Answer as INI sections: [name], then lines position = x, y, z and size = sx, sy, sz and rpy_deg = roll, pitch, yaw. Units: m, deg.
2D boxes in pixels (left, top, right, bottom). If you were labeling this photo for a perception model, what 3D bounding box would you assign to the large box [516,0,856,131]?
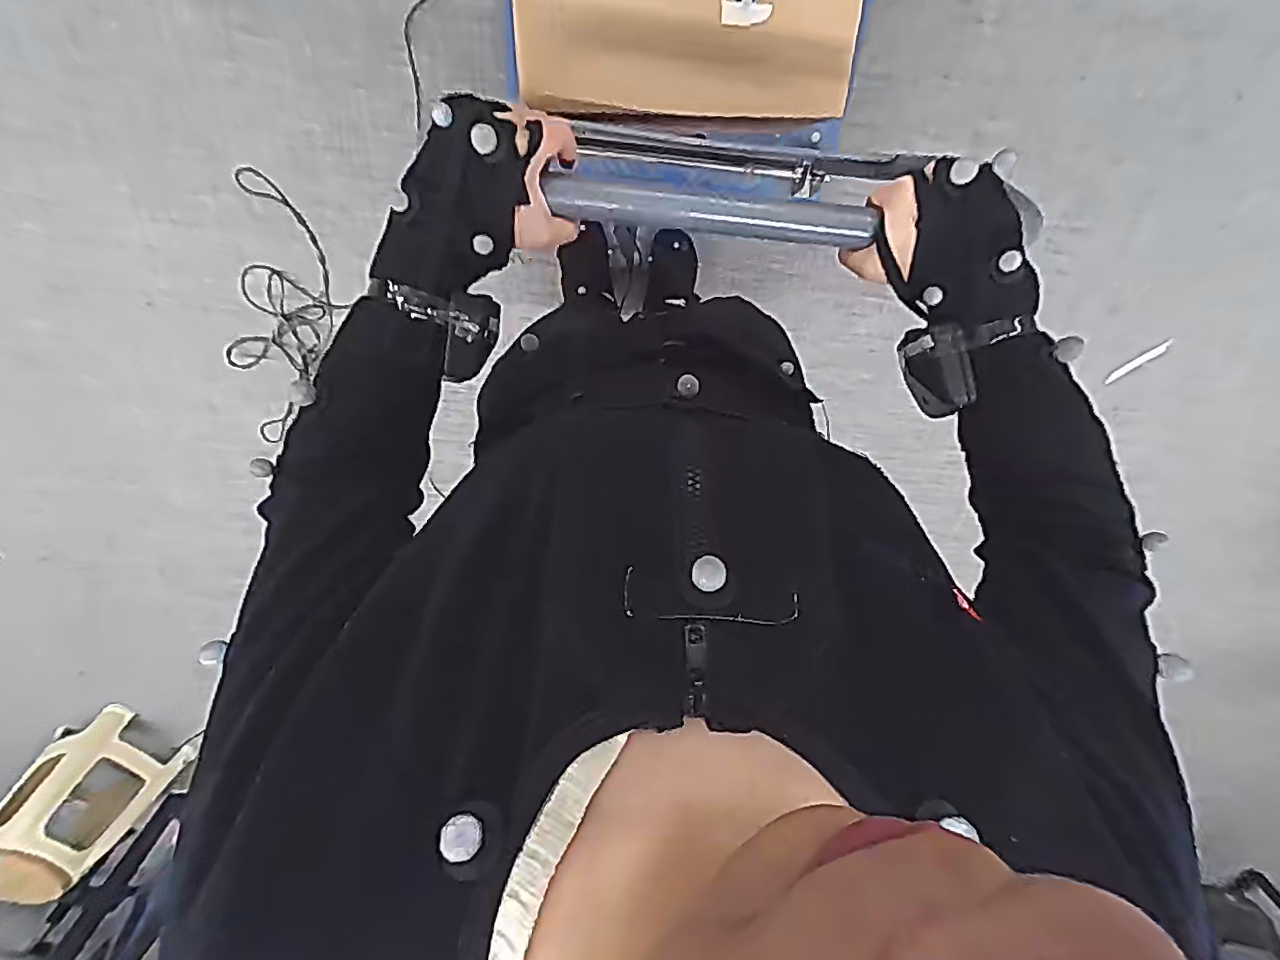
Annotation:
[large box]
position = 0.047, -0.667, 0.731
size = 0.408, 0.320, 0.320
rpy_deg = -1, 120, -3
